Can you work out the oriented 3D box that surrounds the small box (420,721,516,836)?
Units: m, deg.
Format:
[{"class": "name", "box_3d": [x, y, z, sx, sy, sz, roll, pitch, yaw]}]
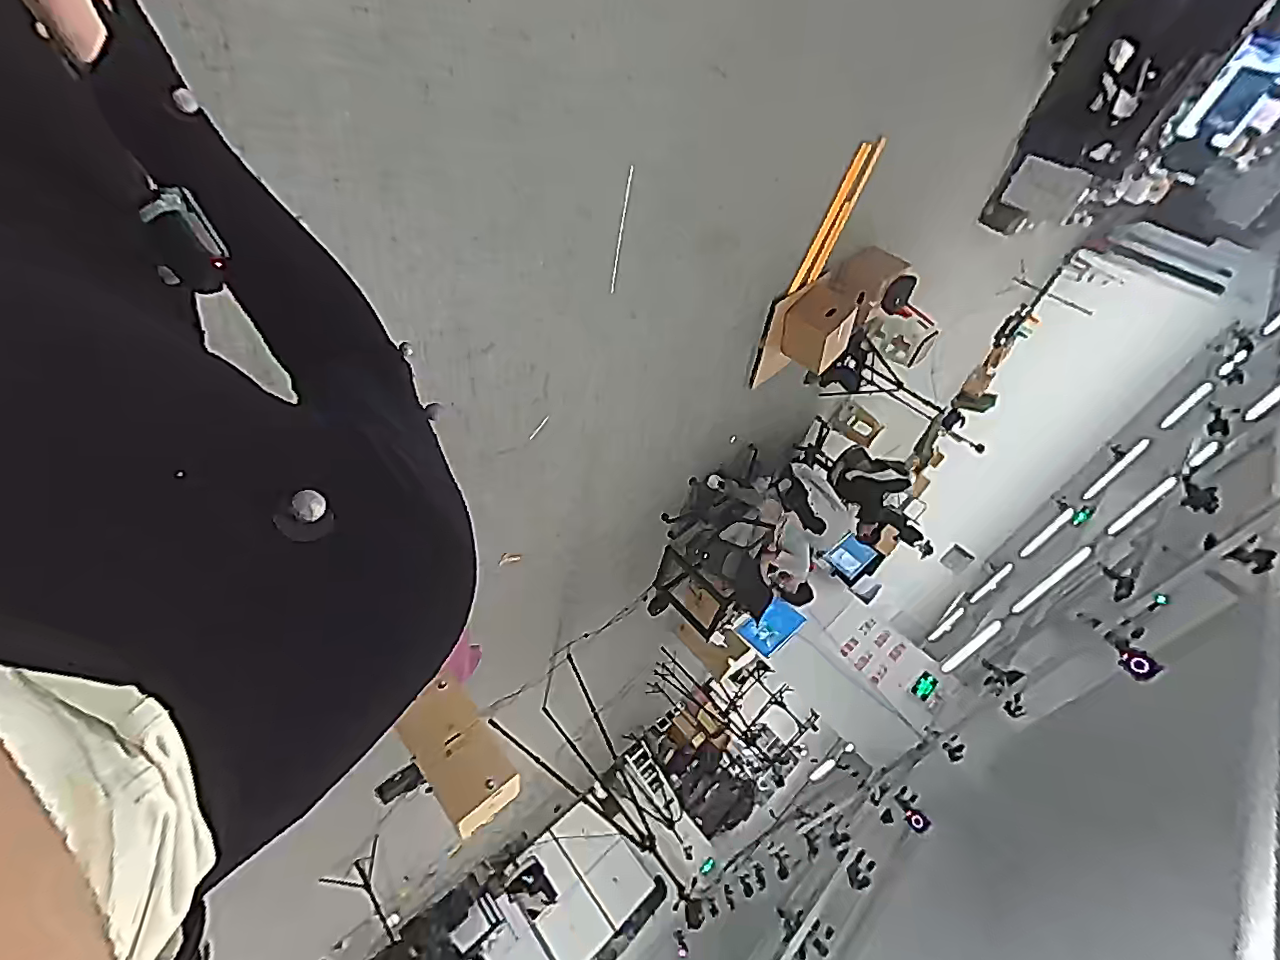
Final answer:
[{"class": "small box", "box_3d": [-0.427, 0.737, 1.347, 0.168, 0.176, 0.179, -29, 150, -35]}]

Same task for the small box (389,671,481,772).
[{"class": "small box", "box_3d": [-0.534, 0.631, 1.413, 0.168, 0.176, 0.179, -28, 150, -35]}]
